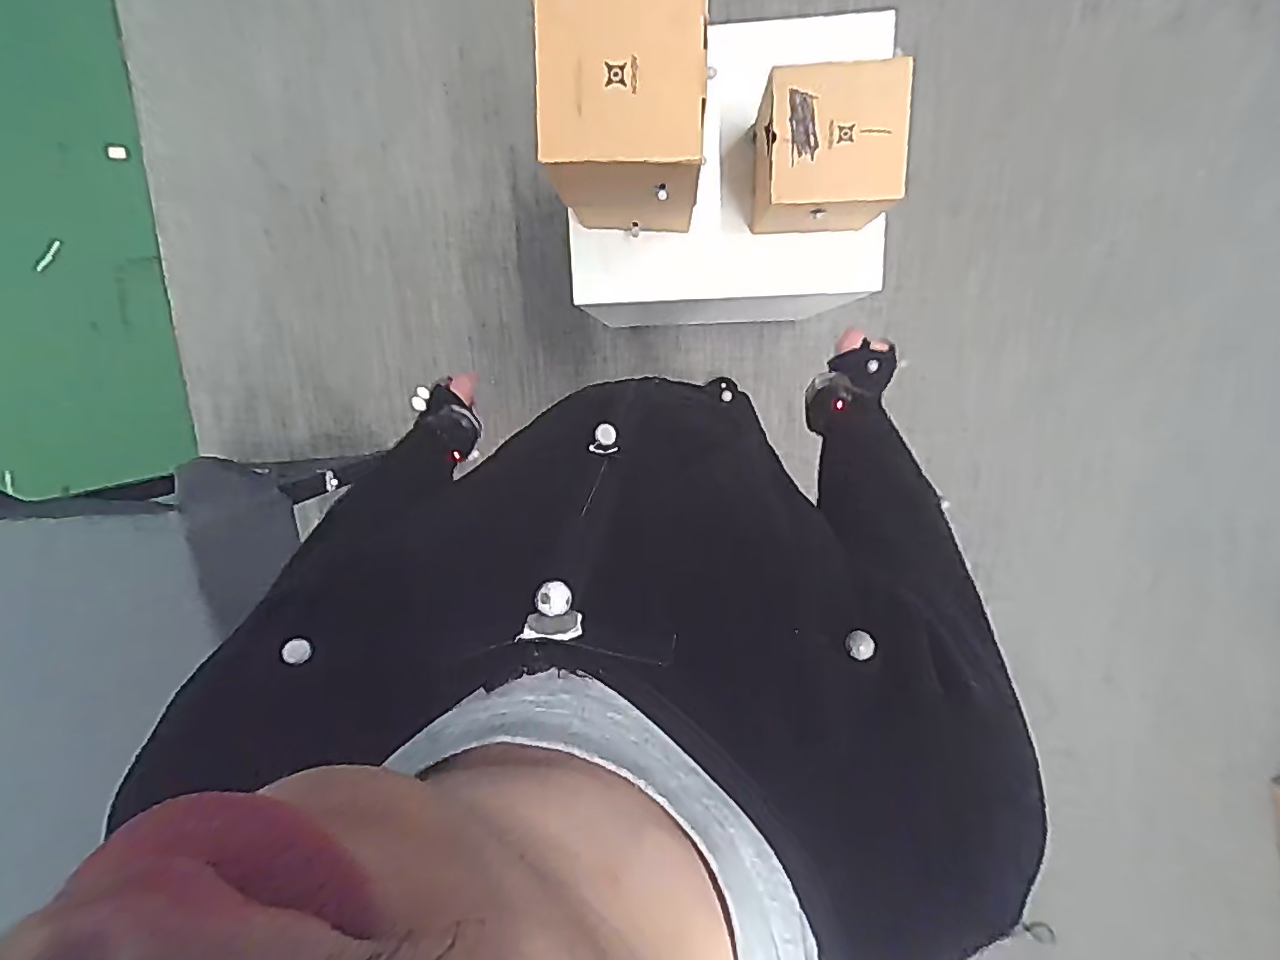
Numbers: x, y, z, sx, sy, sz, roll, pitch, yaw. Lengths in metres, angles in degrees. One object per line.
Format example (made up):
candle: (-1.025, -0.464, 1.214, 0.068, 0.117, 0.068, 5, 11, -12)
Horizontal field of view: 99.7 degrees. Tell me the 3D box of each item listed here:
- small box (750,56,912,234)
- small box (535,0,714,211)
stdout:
small box: (0.254, -0.456, 0.763, 0.179, 0.176, 0.168, -3, 100, 0)
small box: (-0.013, -0.417, 0.611, 0.179, 0.176, 0.168, -1, 100, 2)
